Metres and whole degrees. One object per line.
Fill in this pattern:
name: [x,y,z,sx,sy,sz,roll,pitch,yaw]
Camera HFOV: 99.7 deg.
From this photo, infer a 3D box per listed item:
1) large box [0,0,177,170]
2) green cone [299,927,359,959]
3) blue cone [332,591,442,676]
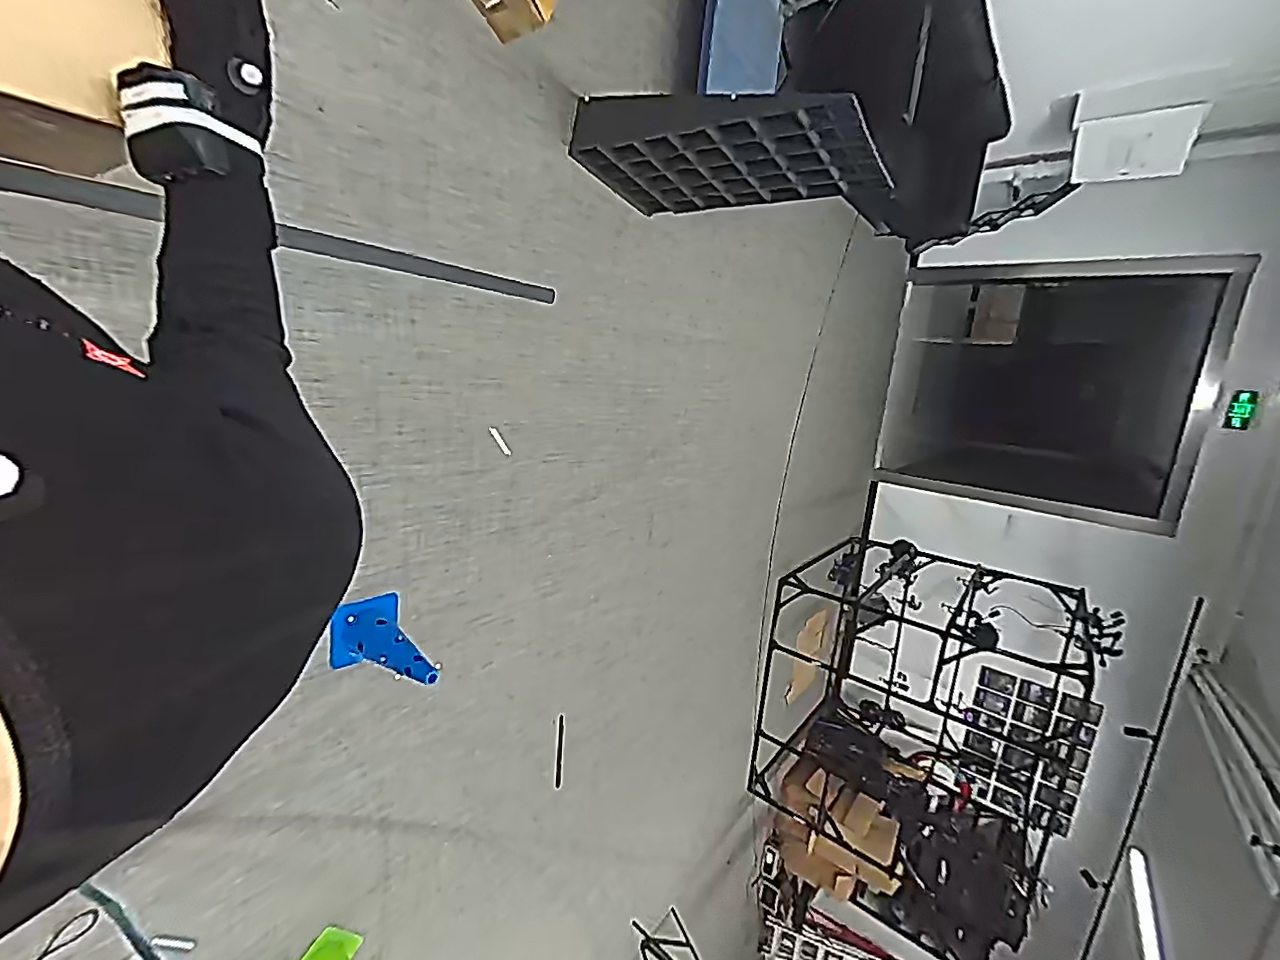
large box: [-0.574,-0.416,0.303,0.408,0.320,0.320,-11,113,-53]
green cone: [-0.890,1.587,1.631,0.202,0.368,0.200,-53,139,-32]
blue cone: [-0.701,0.474,1.543,0.192,0.380,0.193,-5,105,-54]
